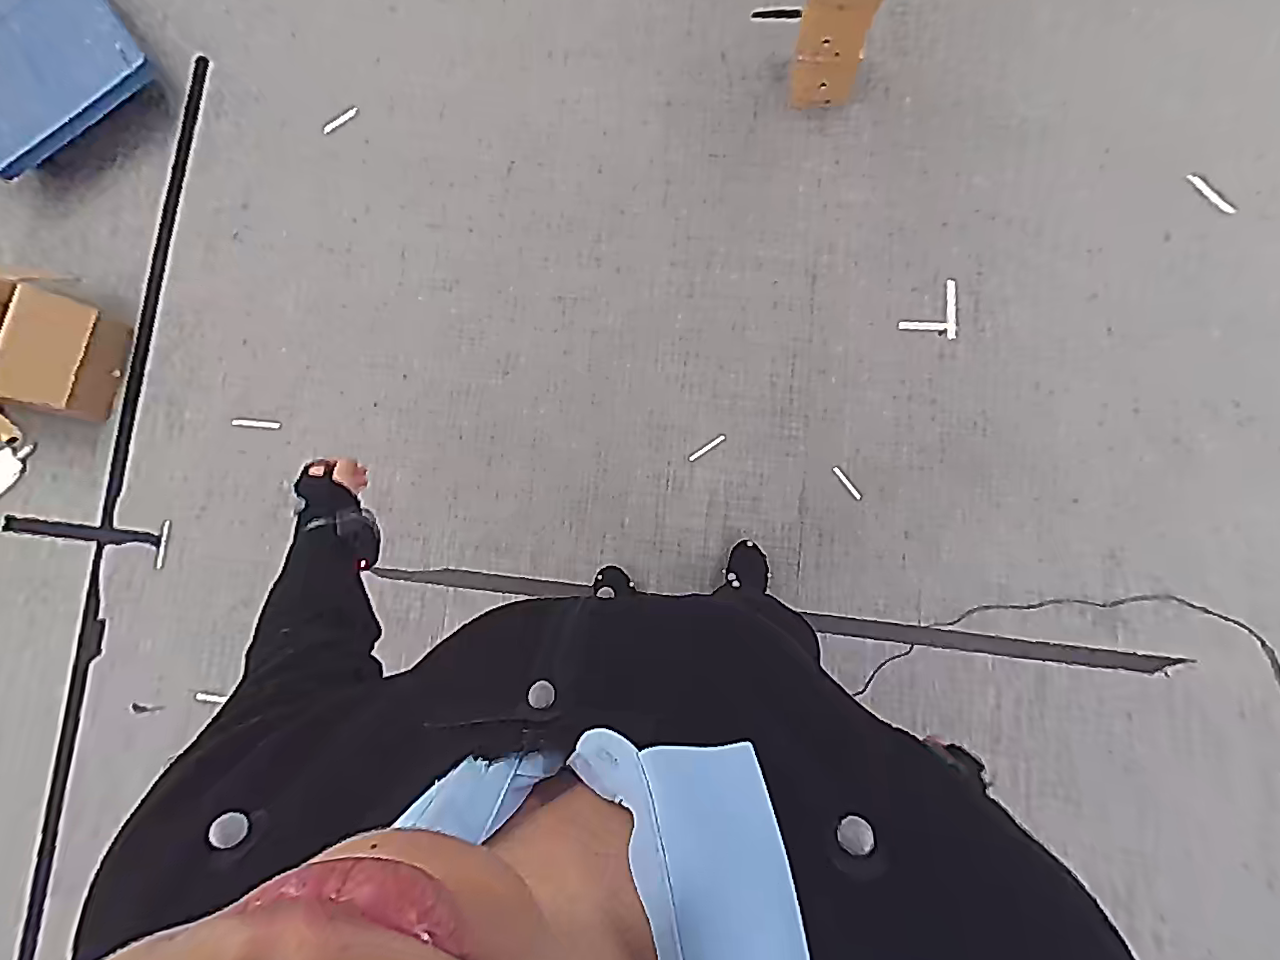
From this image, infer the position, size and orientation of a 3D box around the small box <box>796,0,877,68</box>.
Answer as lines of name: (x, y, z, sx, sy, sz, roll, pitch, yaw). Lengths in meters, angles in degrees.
small box: (0.514, -1.231, 1.407, 0.168, 0.176, 0.179, 10, 85, 5)

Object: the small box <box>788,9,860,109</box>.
small box: (0.531, -1.215, 1.568, 0.168, 0.176, 0.179, 3, 83, 4)
